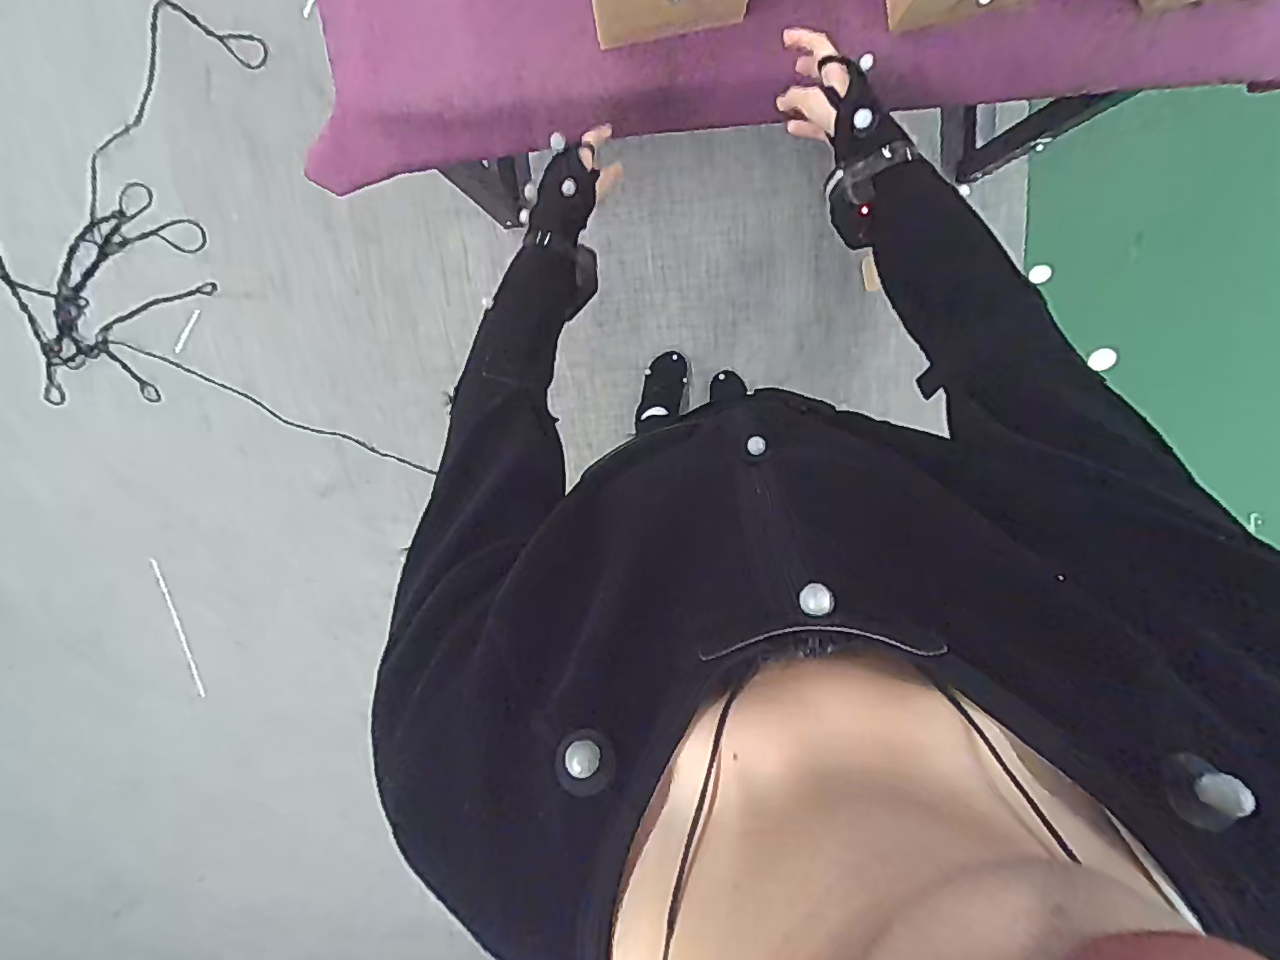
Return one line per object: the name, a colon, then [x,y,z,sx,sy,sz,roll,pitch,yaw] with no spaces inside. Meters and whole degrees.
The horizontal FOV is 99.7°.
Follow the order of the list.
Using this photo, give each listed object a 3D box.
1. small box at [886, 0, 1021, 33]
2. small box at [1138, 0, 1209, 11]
small box: [0.356,-0.613,0.545,0.168,0.176,0.179,-11,101,5]
small box: [0.653,-0.619,0.533,0.179,0.176,0.168,-9,102,4]
